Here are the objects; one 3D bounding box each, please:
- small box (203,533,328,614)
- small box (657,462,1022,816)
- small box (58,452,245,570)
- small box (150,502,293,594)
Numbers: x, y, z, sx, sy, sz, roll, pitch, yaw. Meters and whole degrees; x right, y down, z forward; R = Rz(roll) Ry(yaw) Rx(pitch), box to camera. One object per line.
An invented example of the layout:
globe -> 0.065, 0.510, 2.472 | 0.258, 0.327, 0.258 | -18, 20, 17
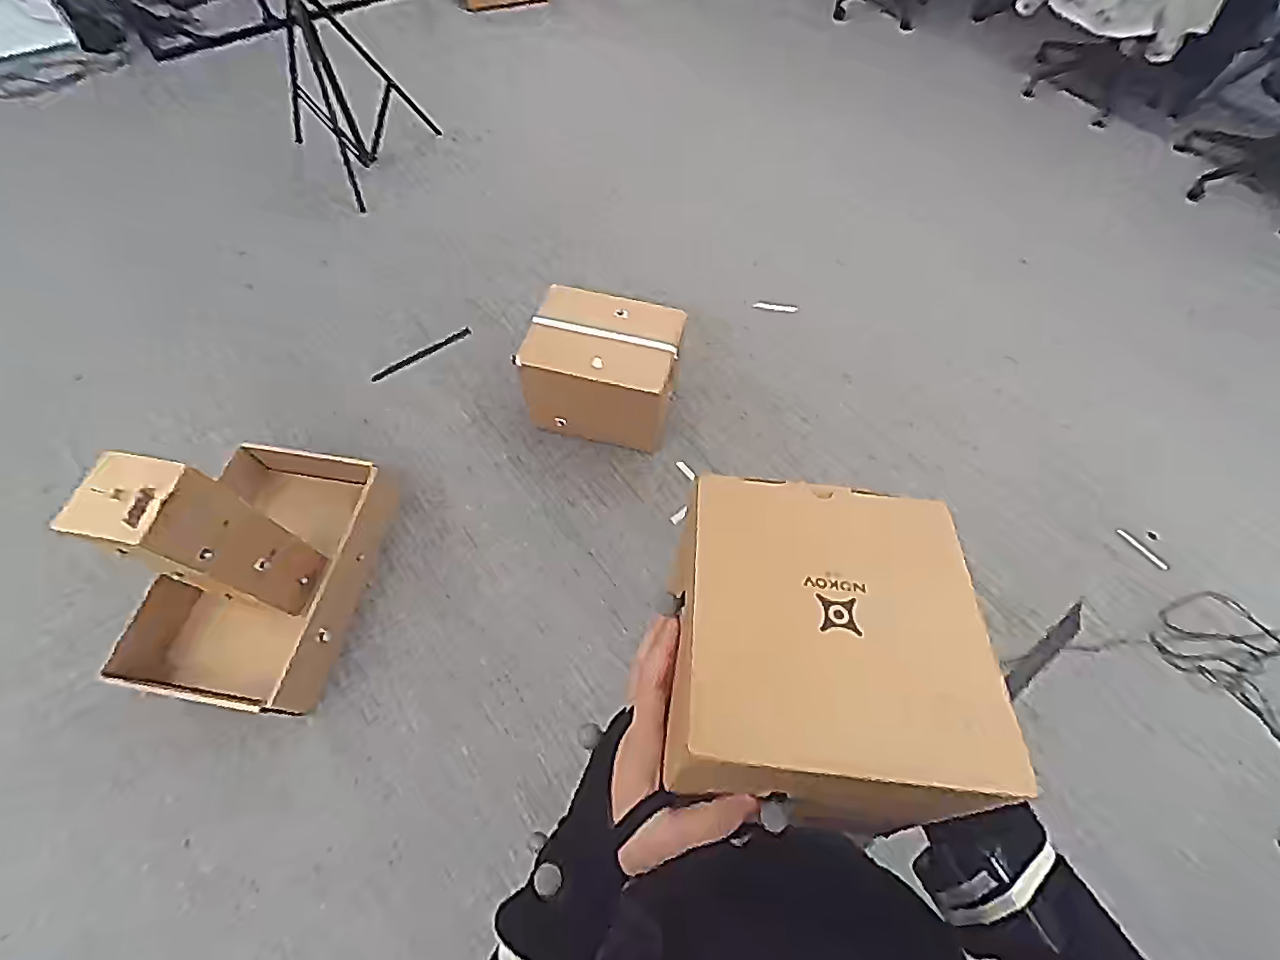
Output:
small box -> -0.928, 0.221, 1.344 | 0.179, 0.176, 0.168 | 12, 63, 5
small box -> 0.102, 0.113, 0.369 | 0.168, 0.176, 0.179 | 6, 50, 0
small box -> -0.932, 0.067, 1.056 | 0.179, 0.176, 0.168 | 9, 63, 6
small box -> -0.928, 0.144, 1.201 | 0.179, 0.176, 0.168 | 11, 63, 4
